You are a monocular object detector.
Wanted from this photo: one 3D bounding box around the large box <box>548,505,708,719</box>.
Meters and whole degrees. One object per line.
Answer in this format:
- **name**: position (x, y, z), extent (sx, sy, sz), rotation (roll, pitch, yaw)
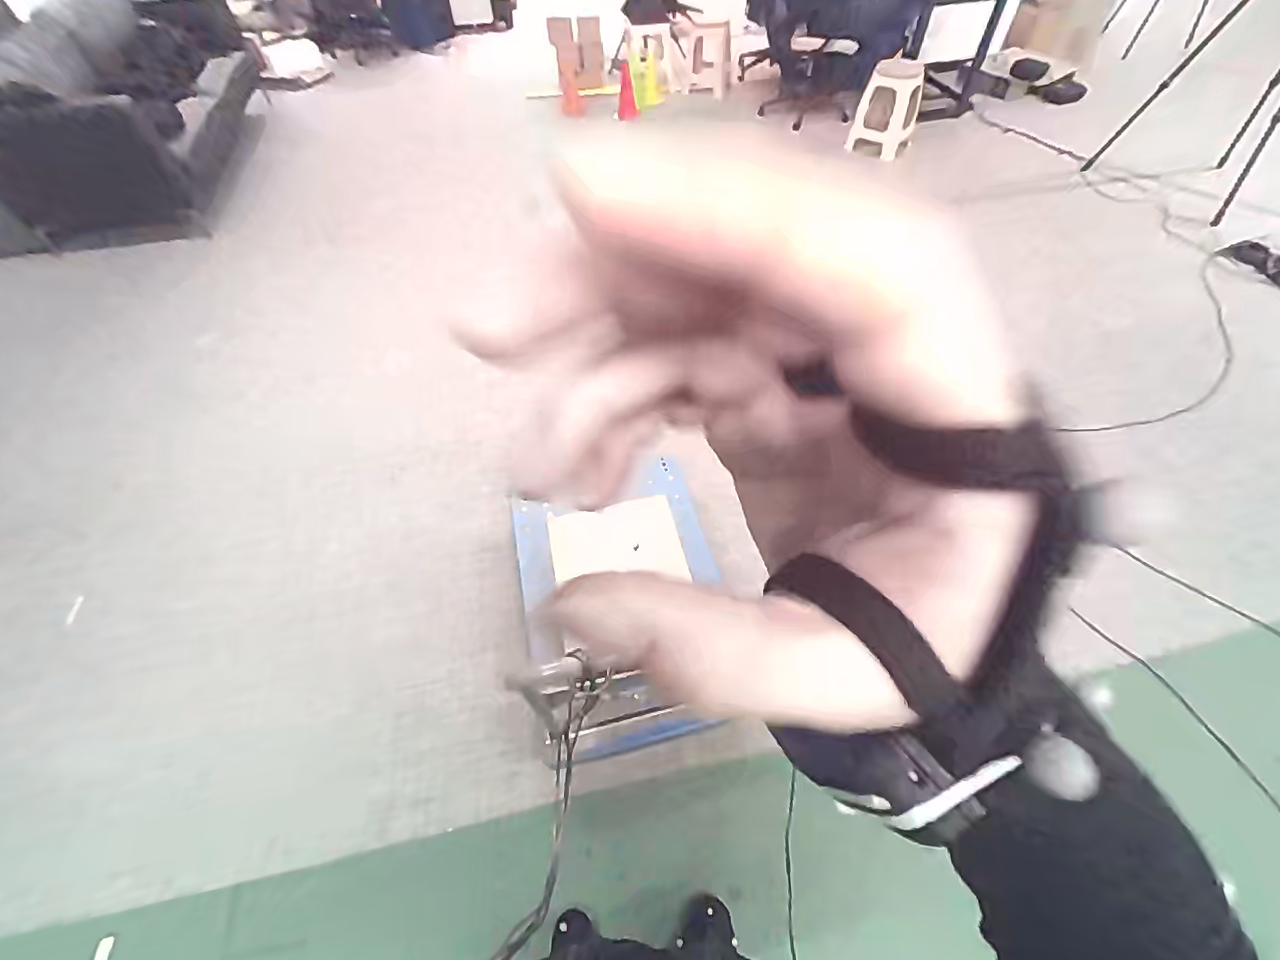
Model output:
- **large box**: position (-0.037, 0.337, 1.390), extent (0.320, 0.320, 0.408), rotation (-10, 52, -7)
